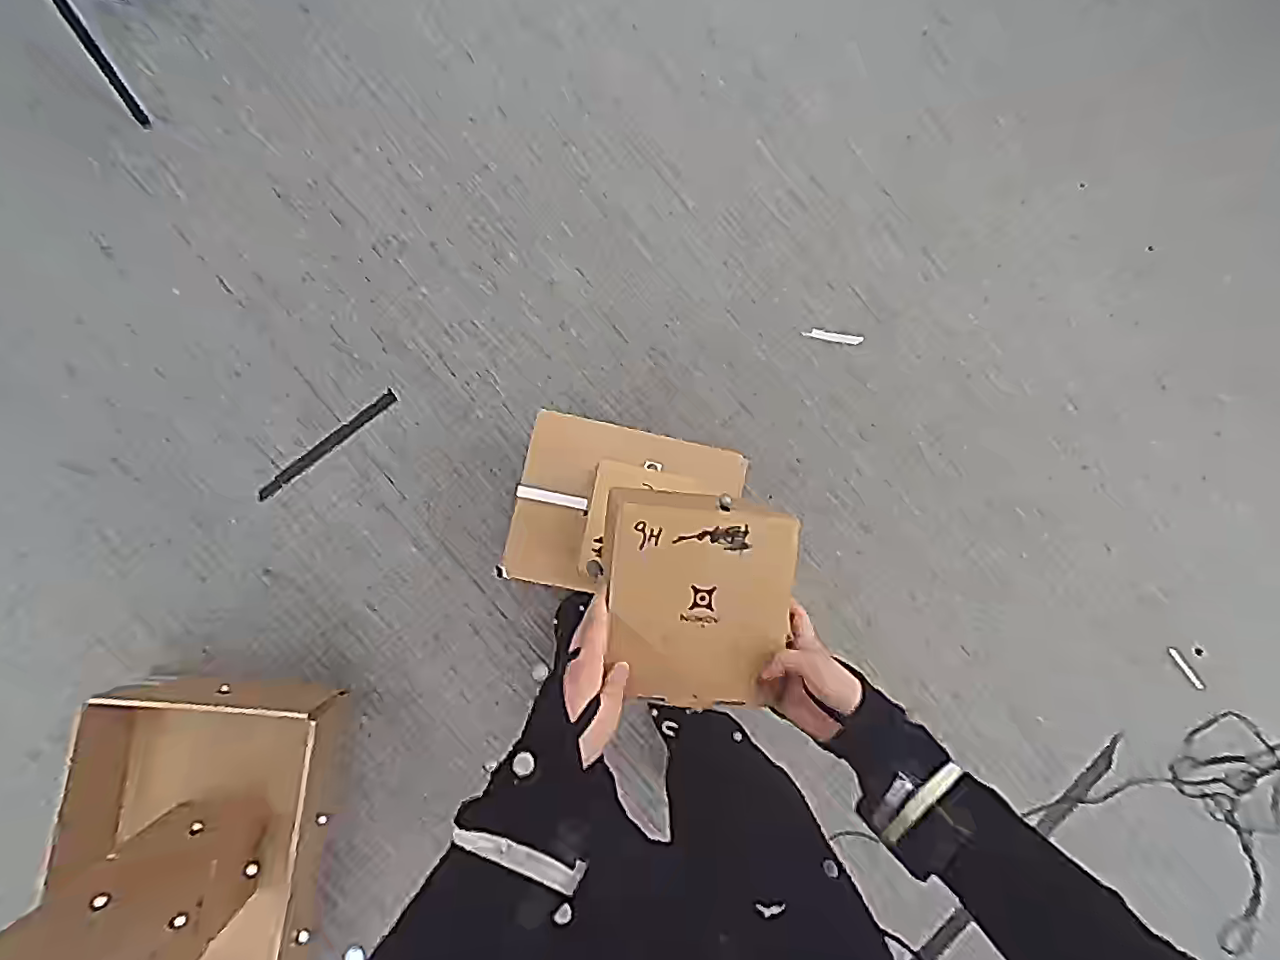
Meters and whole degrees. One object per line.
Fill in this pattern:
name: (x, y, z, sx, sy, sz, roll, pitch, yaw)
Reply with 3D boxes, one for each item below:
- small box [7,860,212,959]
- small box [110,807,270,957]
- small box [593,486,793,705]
small box: (-0.816, 0.726, 0.842, 0.179, 0.176, 0.168, 2, 84, -7)
small box: (-0.835, 0.733, 1.003, 0.179, 0.176, 0.168, 7, 85, -8)
small box: (0.041, 0.107, 0.564, 0.168, 0.176, 0.179, 6, 94, -7)
